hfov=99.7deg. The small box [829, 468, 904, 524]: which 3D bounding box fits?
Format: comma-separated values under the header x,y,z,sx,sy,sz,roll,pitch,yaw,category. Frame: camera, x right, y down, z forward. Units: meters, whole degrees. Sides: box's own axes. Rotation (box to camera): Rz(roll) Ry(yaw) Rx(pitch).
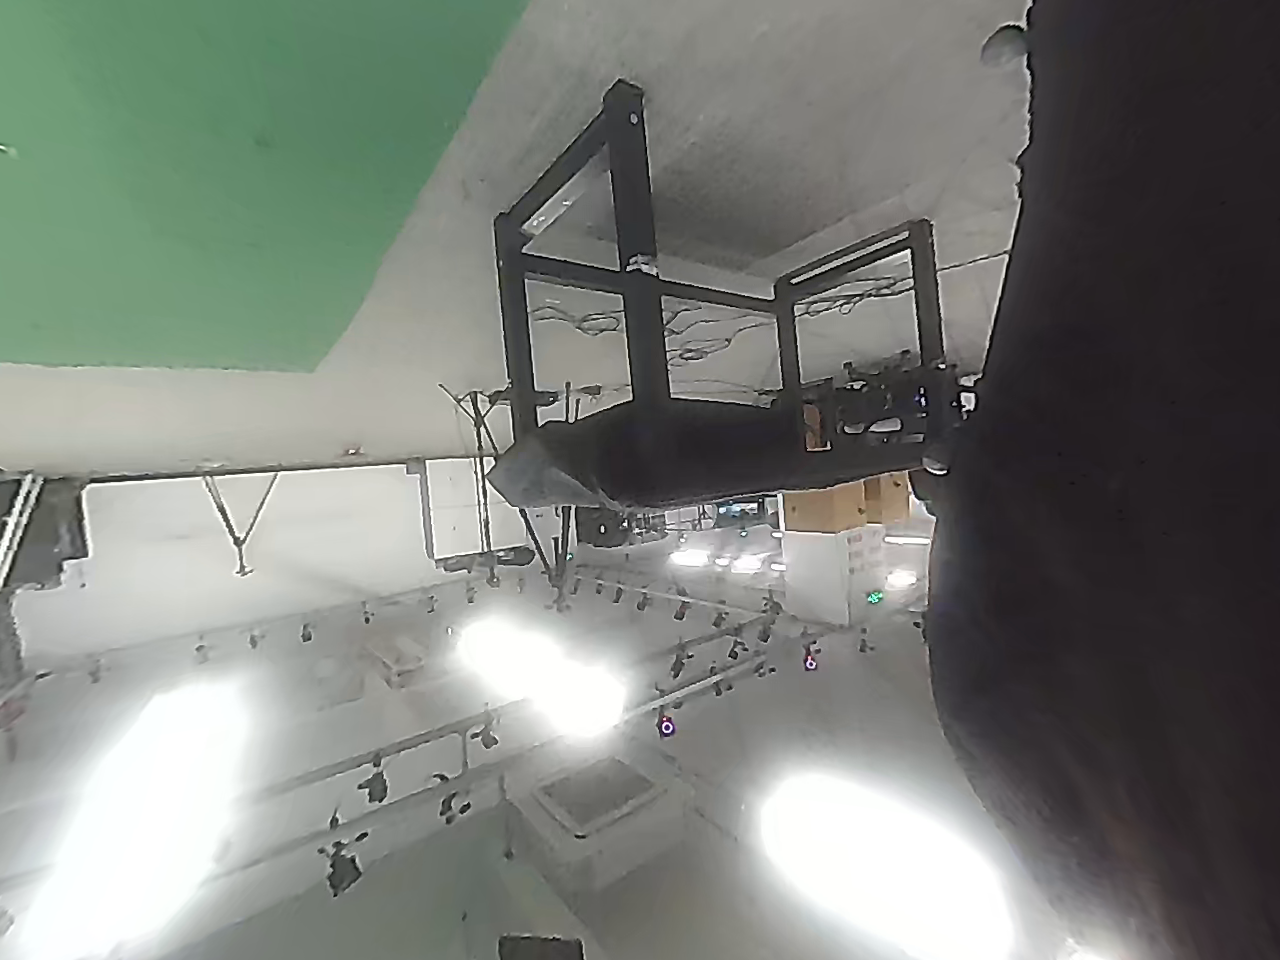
x,y,z,sx,sy,sz,roll,pitch,yaw,category
0.732,0.049,1.751,0.168,0.176,0.179,-4,-179,-36,small box
